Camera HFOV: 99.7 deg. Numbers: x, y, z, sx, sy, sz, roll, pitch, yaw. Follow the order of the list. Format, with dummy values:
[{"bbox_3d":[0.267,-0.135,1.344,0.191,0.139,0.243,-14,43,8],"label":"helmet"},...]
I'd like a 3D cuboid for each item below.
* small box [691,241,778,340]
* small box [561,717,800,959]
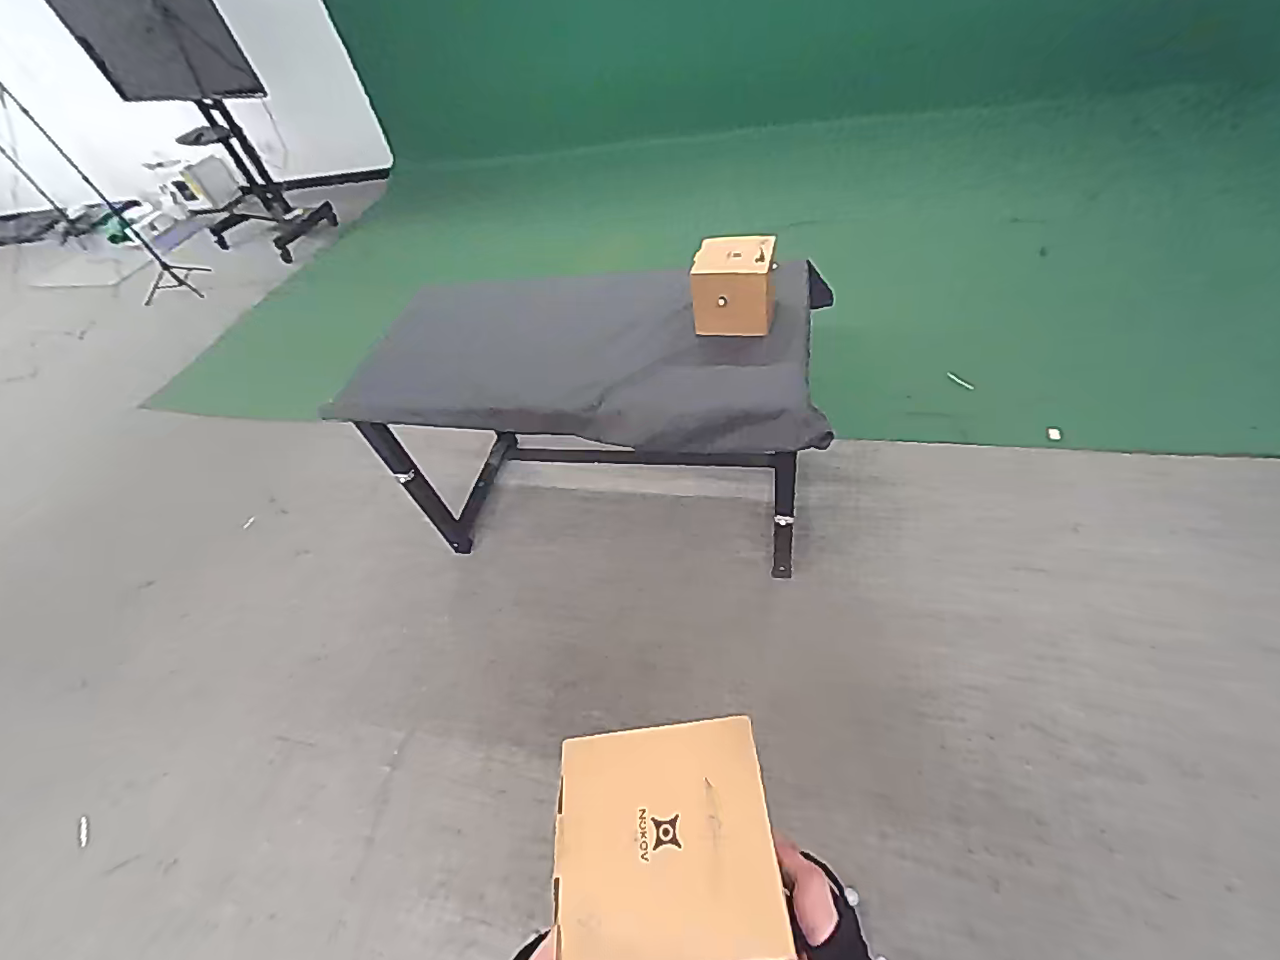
[{"bbox_3d":[0.236,-0.456,1.313,0.179,0.176,0.168,5,52,19],"label":"small box"},{"bbox_3d":[0.039,0.337,0.490,0.179,0.176,0.168,-10,47,5],"label":"small box"}]
